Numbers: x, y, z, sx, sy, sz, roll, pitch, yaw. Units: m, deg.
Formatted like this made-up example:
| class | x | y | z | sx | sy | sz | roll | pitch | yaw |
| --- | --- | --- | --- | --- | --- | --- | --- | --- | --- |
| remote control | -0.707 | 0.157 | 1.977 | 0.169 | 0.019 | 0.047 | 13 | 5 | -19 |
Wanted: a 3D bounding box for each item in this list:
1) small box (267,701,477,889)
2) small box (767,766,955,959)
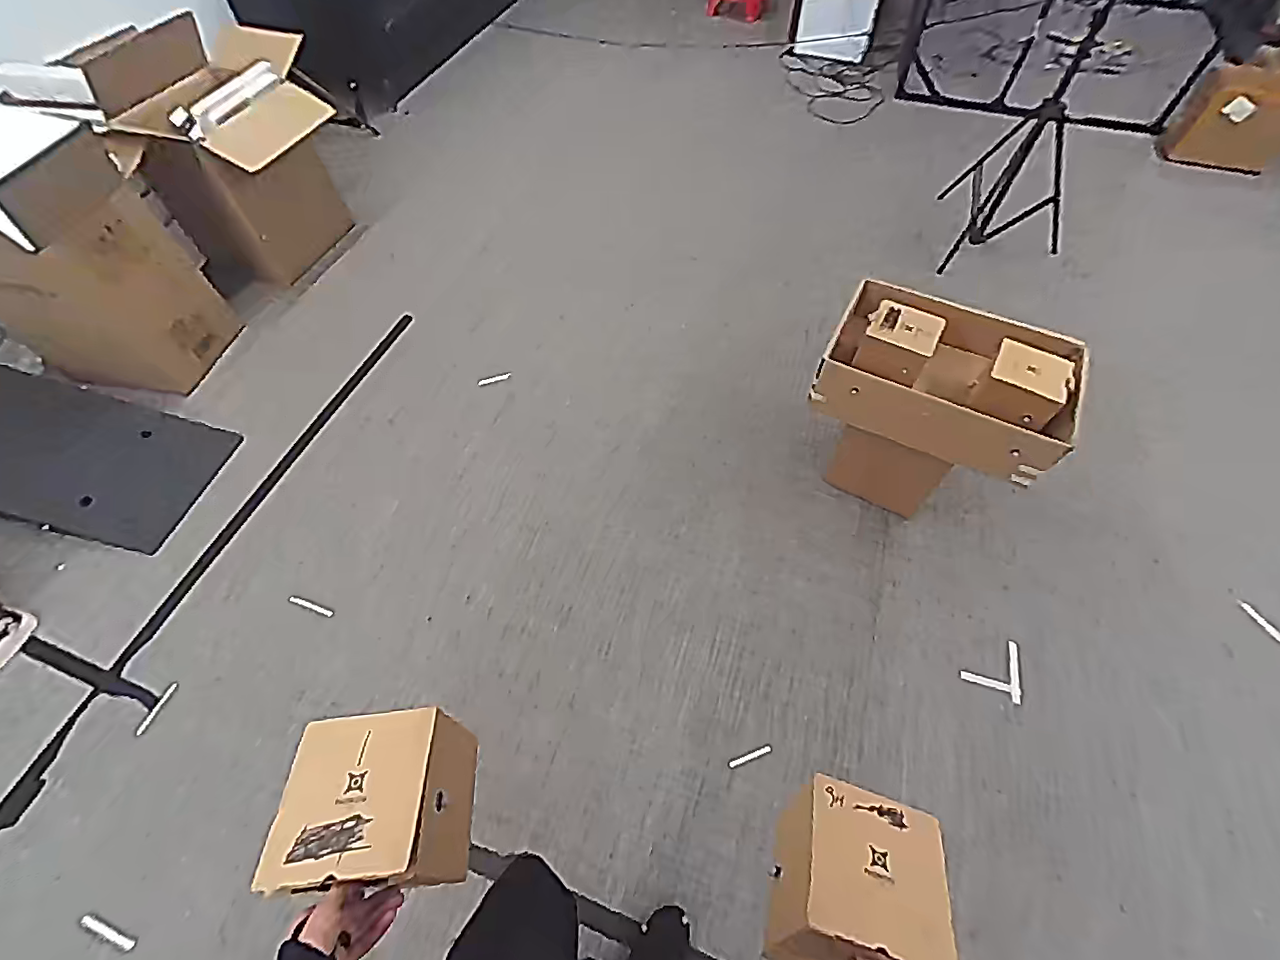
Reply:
| class | x | y | z | sx | sy | sz | roll | pitch | yaw |
| --- | --- | --- | --- | --- | --- | --- | --- | --- | --- |
| small box | -0.316 | 0.401 | 0.684 | 0.168 | 0.176 | 0.179 | -7 | 51 | 0 |
| small box | 0.271 | 0.515 | 0.691 | 0.168 | 0.176 | 0.179 | 18 | 39 | 8 |
